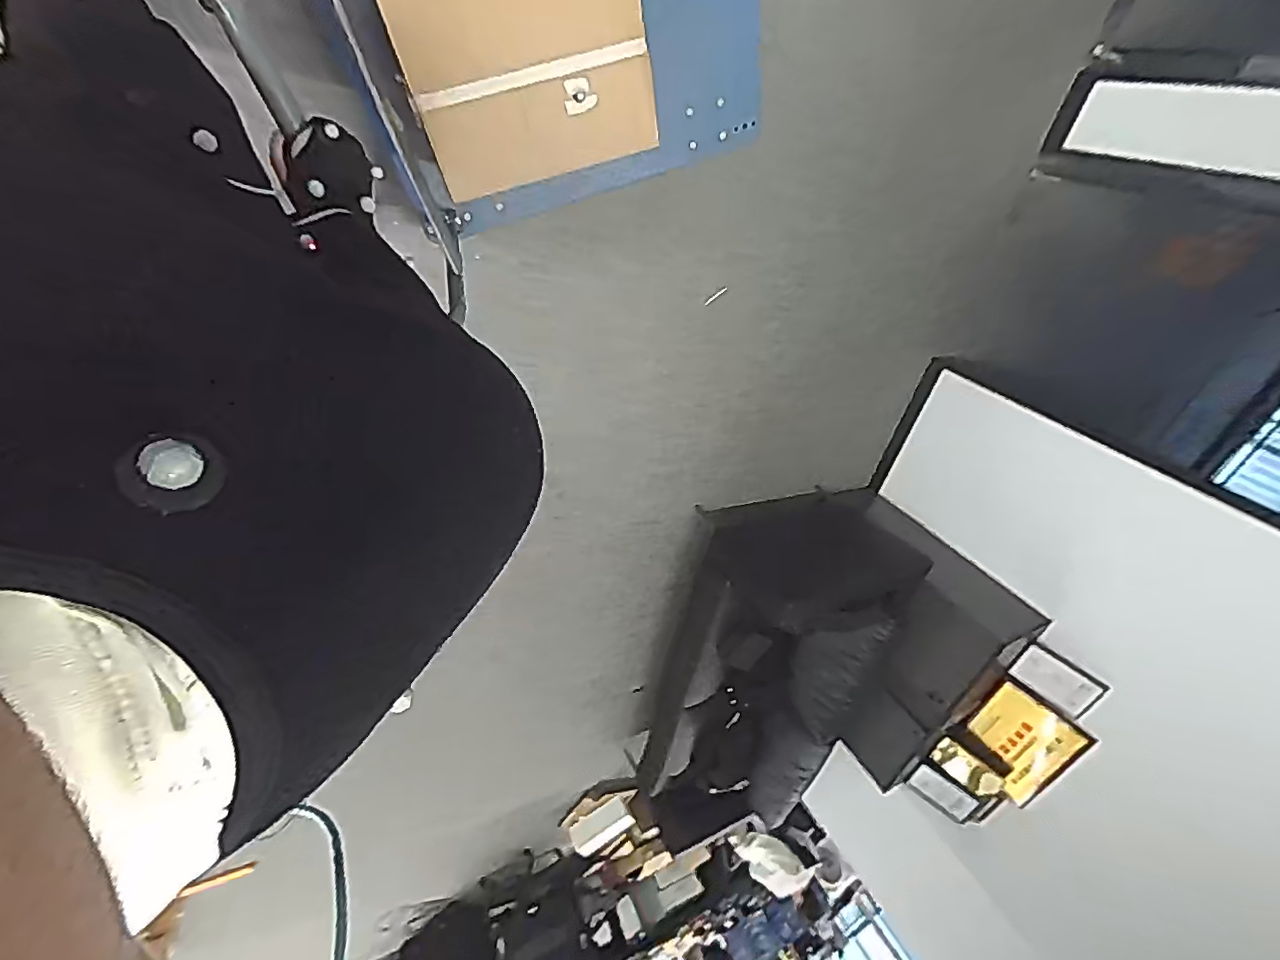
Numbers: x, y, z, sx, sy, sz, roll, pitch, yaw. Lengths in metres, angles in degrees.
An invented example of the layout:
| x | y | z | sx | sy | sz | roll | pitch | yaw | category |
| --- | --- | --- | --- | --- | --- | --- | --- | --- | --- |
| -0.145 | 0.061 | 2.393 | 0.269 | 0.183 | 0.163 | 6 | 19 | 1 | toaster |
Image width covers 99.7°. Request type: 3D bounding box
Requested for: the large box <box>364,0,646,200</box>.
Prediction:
| x | y | z | sx | sy | sz | roll | pitch | yaw | category |
| --- | --- | --- | --- | --- | --- | --- | --- | --- | --- |
| -0.247 | -0.772 | 1.008 | 0.408 | 0.320 | 0.320 | -21 | 134 | -9 | large box |
